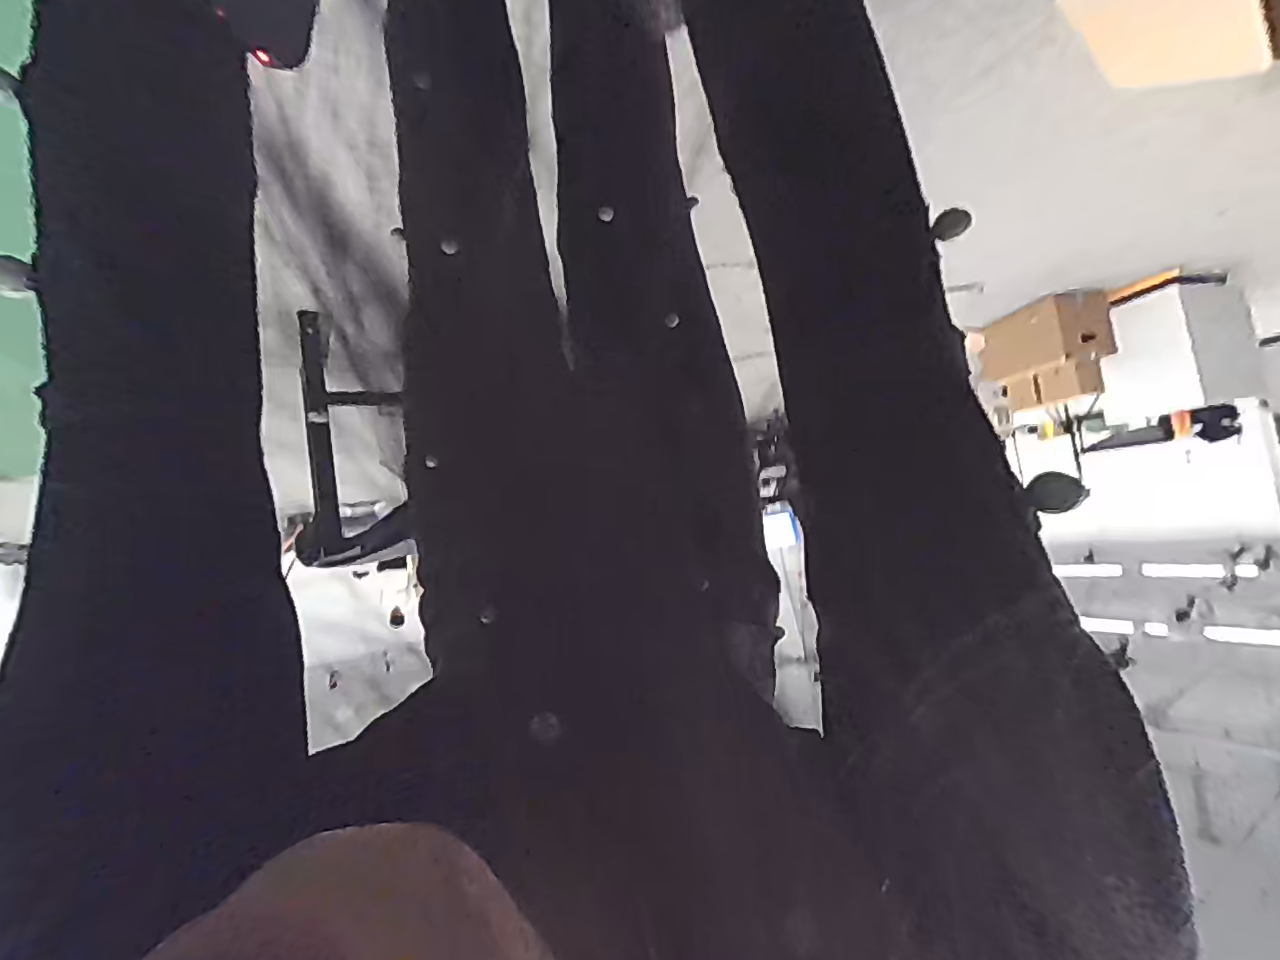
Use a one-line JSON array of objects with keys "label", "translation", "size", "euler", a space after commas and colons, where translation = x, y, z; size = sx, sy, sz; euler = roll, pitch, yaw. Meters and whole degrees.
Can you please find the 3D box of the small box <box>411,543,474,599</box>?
[{"label": "small box", "translation": [-0.702, 0.317, 1.909], "size": [0.168, 0.176, 0.179], "euler": [-6, 175, -36]}]
